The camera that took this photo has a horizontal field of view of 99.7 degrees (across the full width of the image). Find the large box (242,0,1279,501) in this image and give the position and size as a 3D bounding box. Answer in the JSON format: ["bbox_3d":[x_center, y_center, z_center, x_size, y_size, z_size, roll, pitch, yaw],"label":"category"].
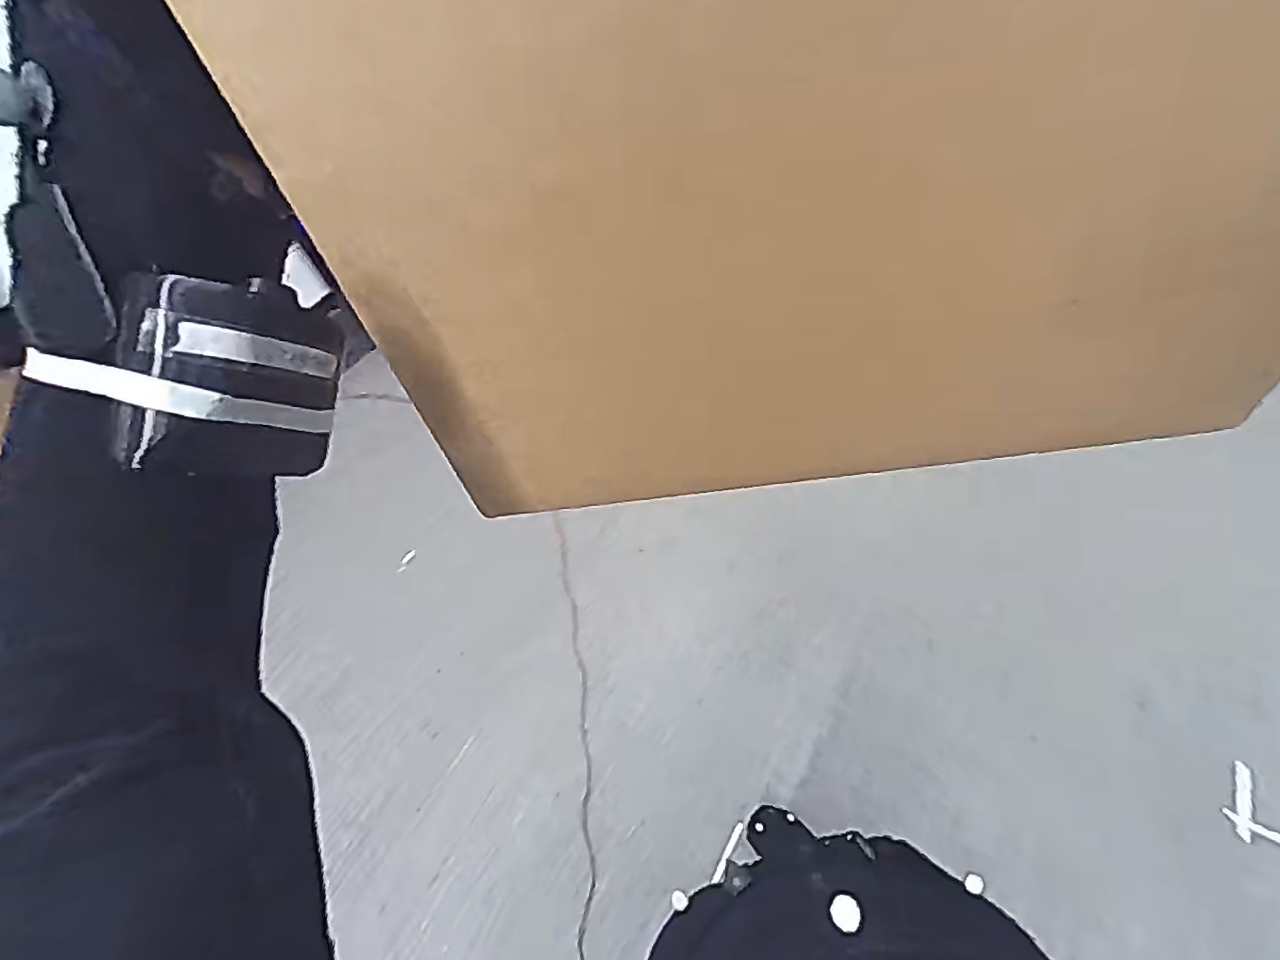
[{"bbox_3d":[0.084,-0.217,0.295,0.408,0.320,0.320,-7,49,4],"label":"large box"}]
